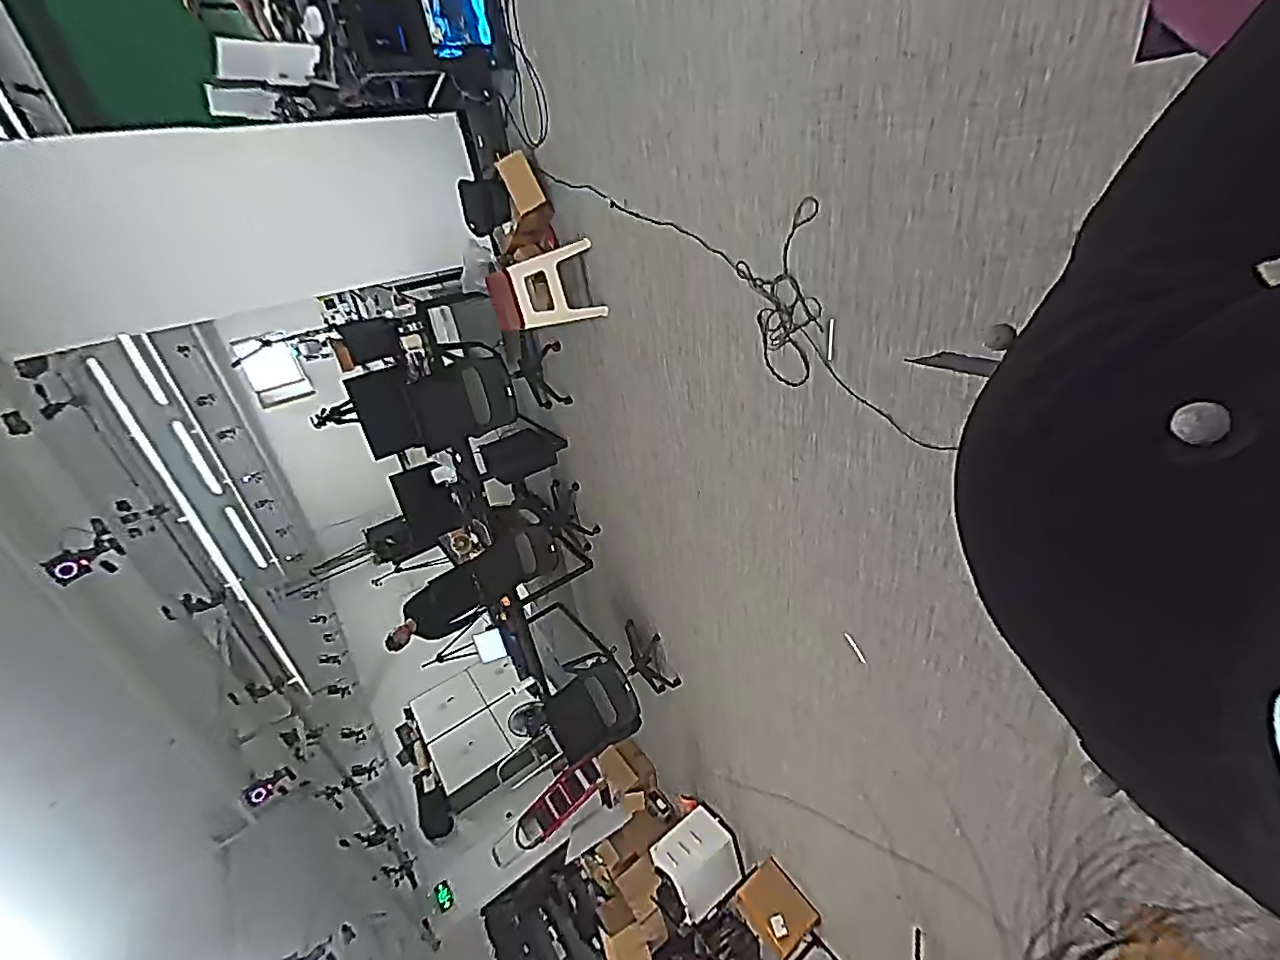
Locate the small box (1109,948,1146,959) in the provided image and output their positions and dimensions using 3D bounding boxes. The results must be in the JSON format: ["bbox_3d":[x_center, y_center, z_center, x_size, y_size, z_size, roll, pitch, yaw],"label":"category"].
[{"bbox_3d":[1.439,1.508,1.555,0.168,0.176,0.179,34,142,44],"label":"small box"}]
